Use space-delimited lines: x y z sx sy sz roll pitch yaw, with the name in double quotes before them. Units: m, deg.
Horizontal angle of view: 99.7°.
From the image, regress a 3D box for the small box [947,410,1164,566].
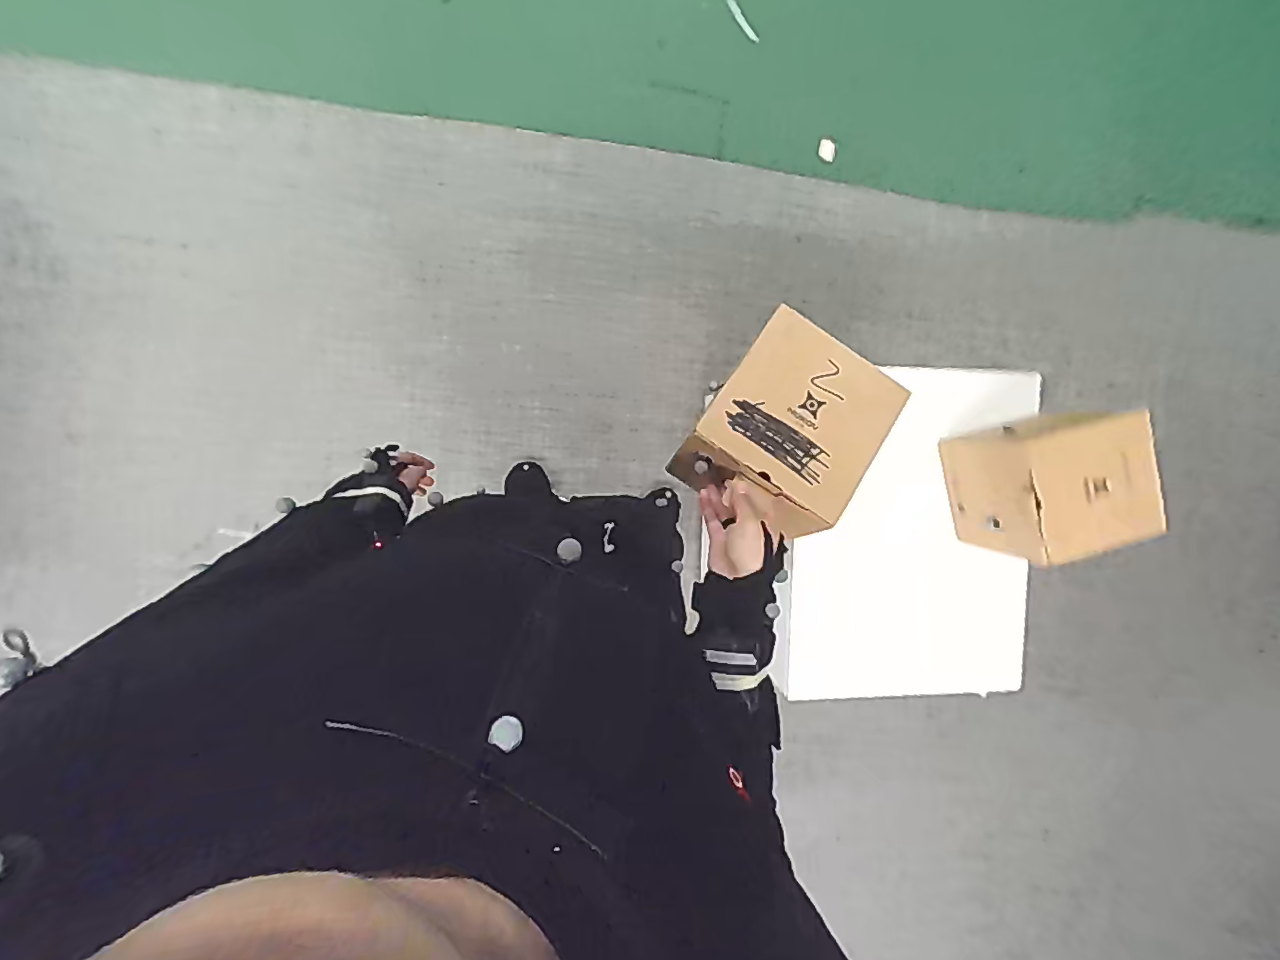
"small box" 0.567 0.005 0.763 0.179 0.176 0.168 -16 97 -6
